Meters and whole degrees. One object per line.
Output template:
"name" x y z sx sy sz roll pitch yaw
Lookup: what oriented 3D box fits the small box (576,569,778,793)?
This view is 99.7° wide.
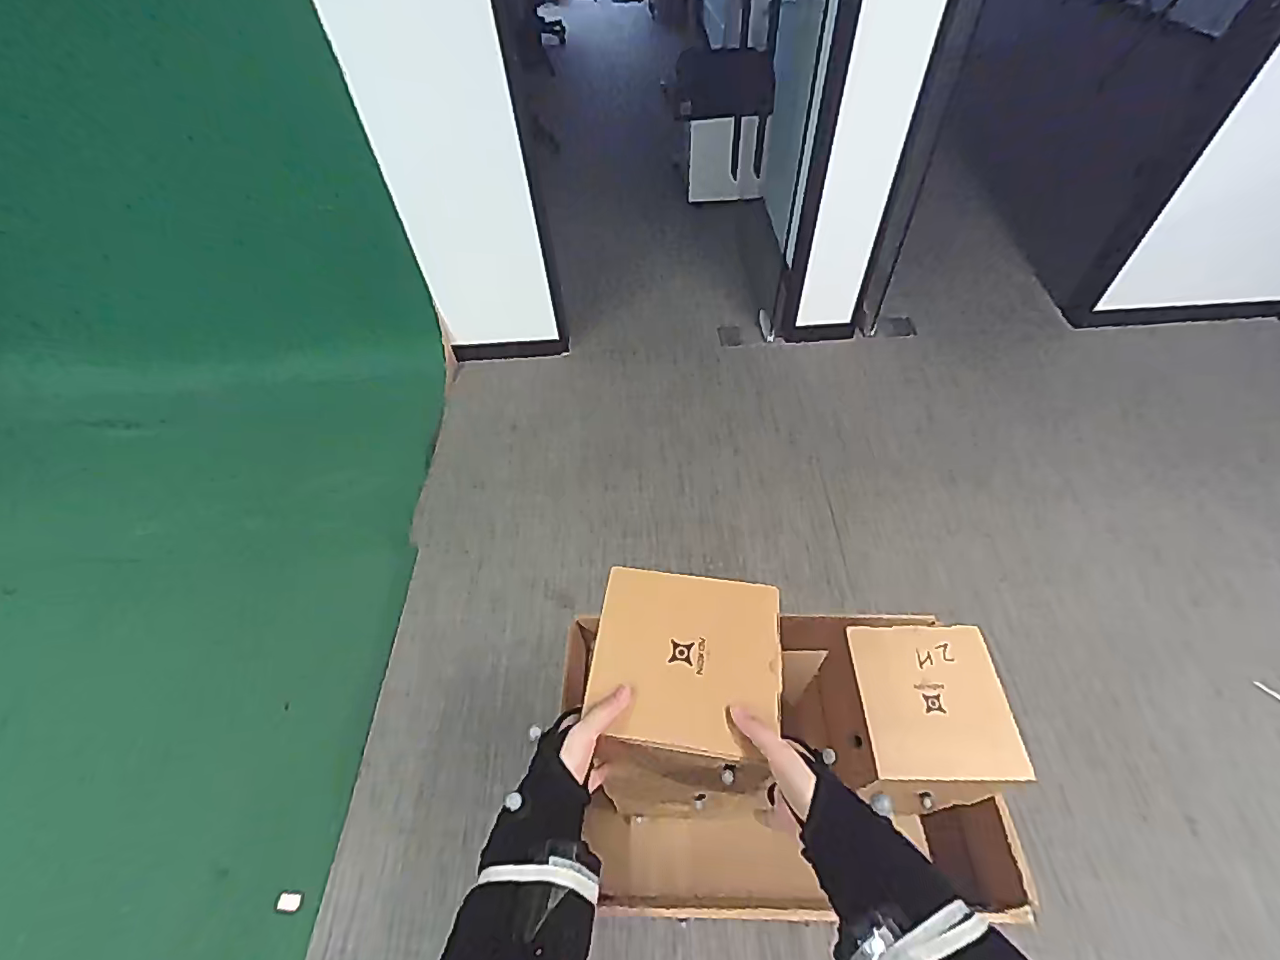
"small box" 0.043 0.214 0.568 0.179 0.176 0.168 6 52 6

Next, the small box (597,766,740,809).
"small box" 0.046 0.311 0.702 0.168 0.176 0.179 3 51 6

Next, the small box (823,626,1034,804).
"small box" 0.342 0.300 0.685 0.168 0.176 0.179 -1 52 4
